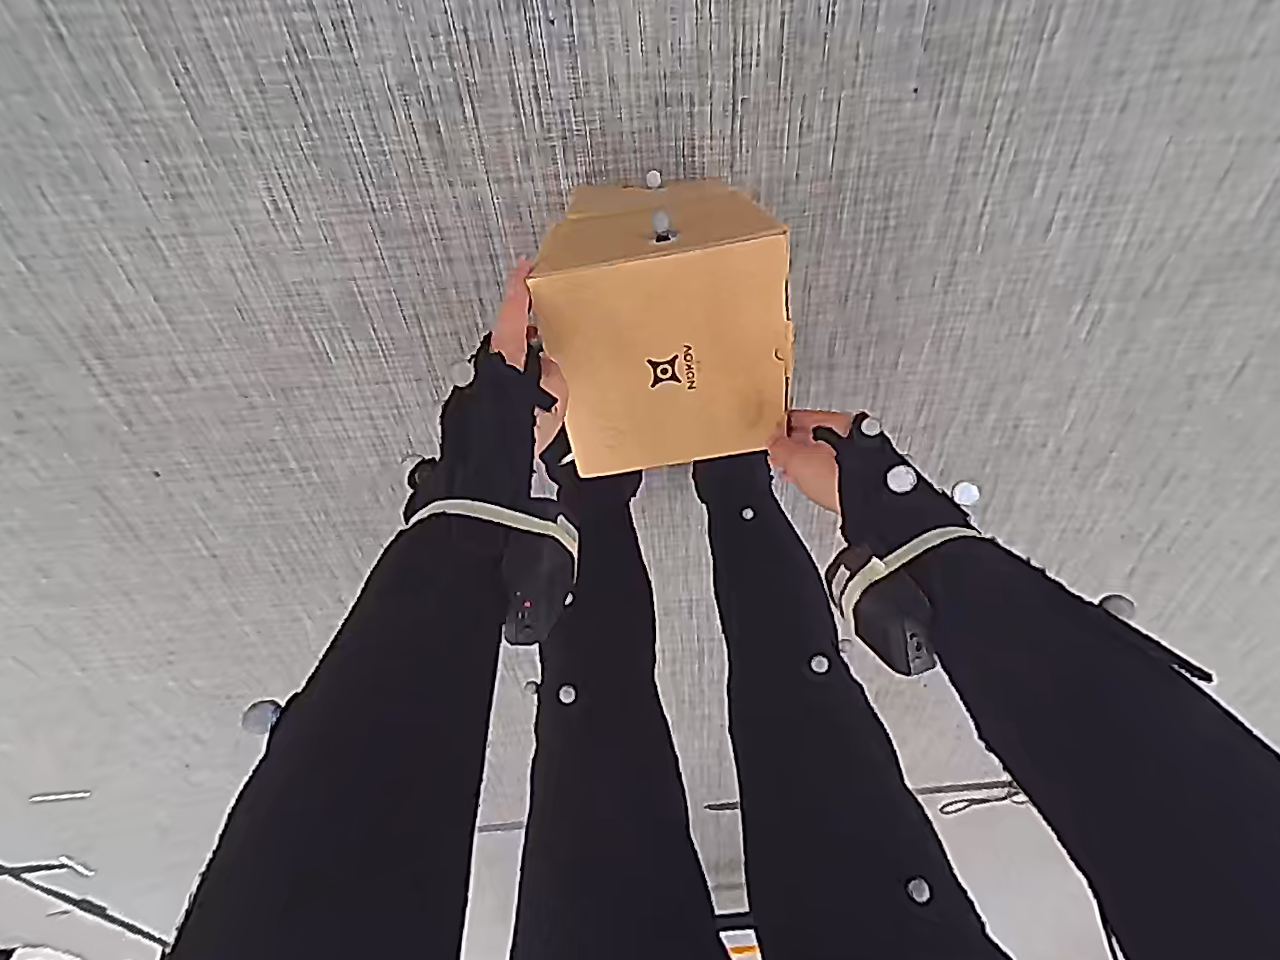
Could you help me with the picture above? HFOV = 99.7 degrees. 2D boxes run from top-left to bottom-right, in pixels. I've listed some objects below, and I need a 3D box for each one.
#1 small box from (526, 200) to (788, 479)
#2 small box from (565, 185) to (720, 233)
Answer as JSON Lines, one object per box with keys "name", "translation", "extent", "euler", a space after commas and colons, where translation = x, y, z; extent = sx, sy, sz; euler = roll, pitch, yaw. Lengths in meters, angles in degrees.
{"name": "small box", "translation": [0.018, -0.124, 0.460], "extent": [0.179, 0.176, 0.168], "euler": [-10, 126, 3]}
{"name": "small box", "translation": [0.012, -0.213, 0.597], "extent": [0.168, 0.176, 0.179], "euler": [-4, 125, -1]}
